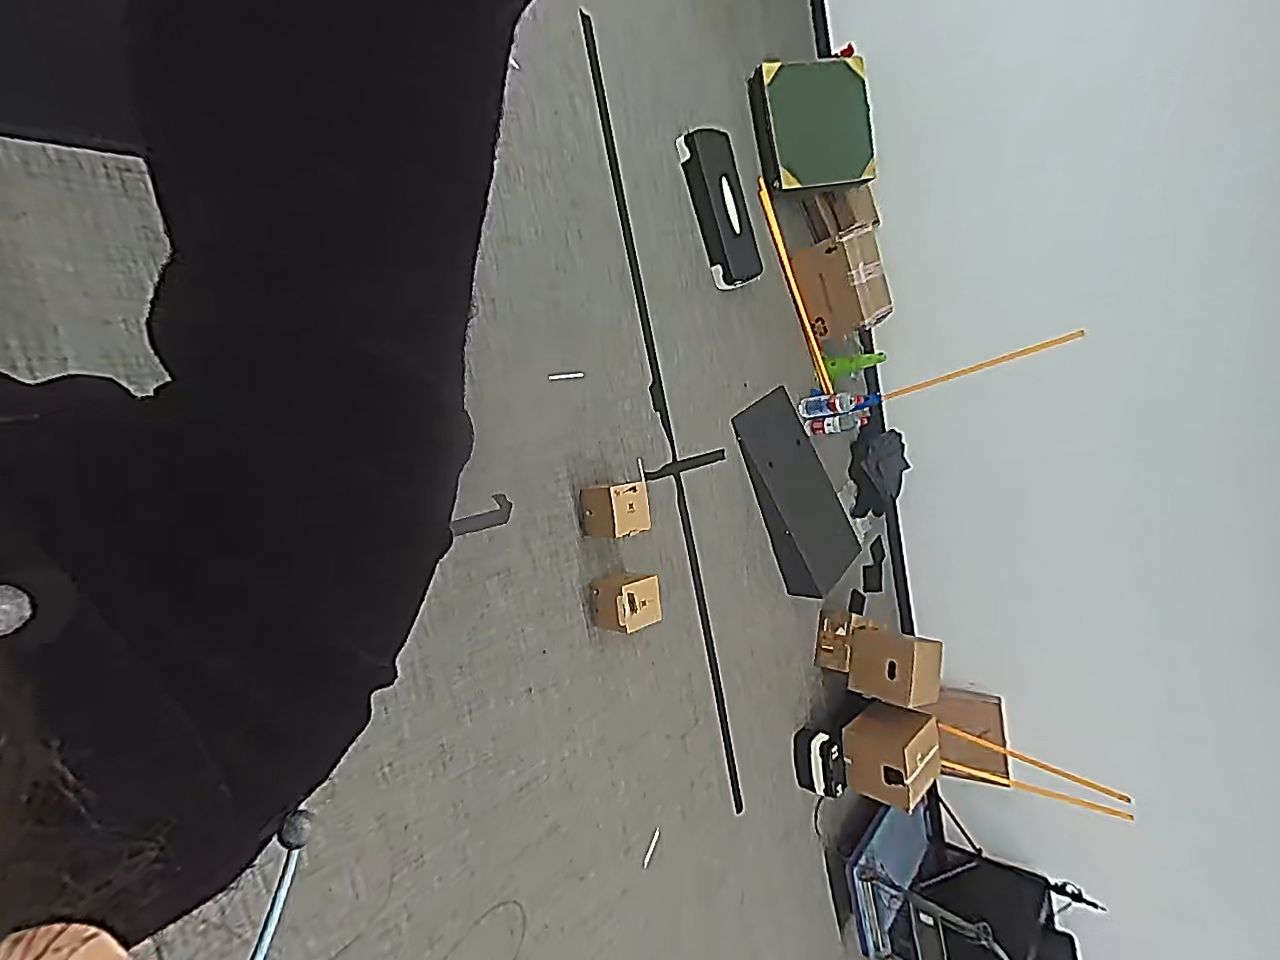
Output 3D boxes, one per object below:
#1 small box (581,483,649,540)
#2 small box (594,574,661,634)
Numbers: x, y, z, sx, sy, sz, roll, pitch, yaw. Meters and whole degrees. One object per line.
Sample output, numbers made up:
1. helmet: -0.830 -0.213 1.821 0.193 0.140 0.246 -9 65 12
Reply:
1. small box: -0.090 0.107 1.908 0.168 0.176 0.179 -10 95 -43
2. small box: -0.049 0.436 1.927 0.179 0.176 0.168 -9 94 -44
